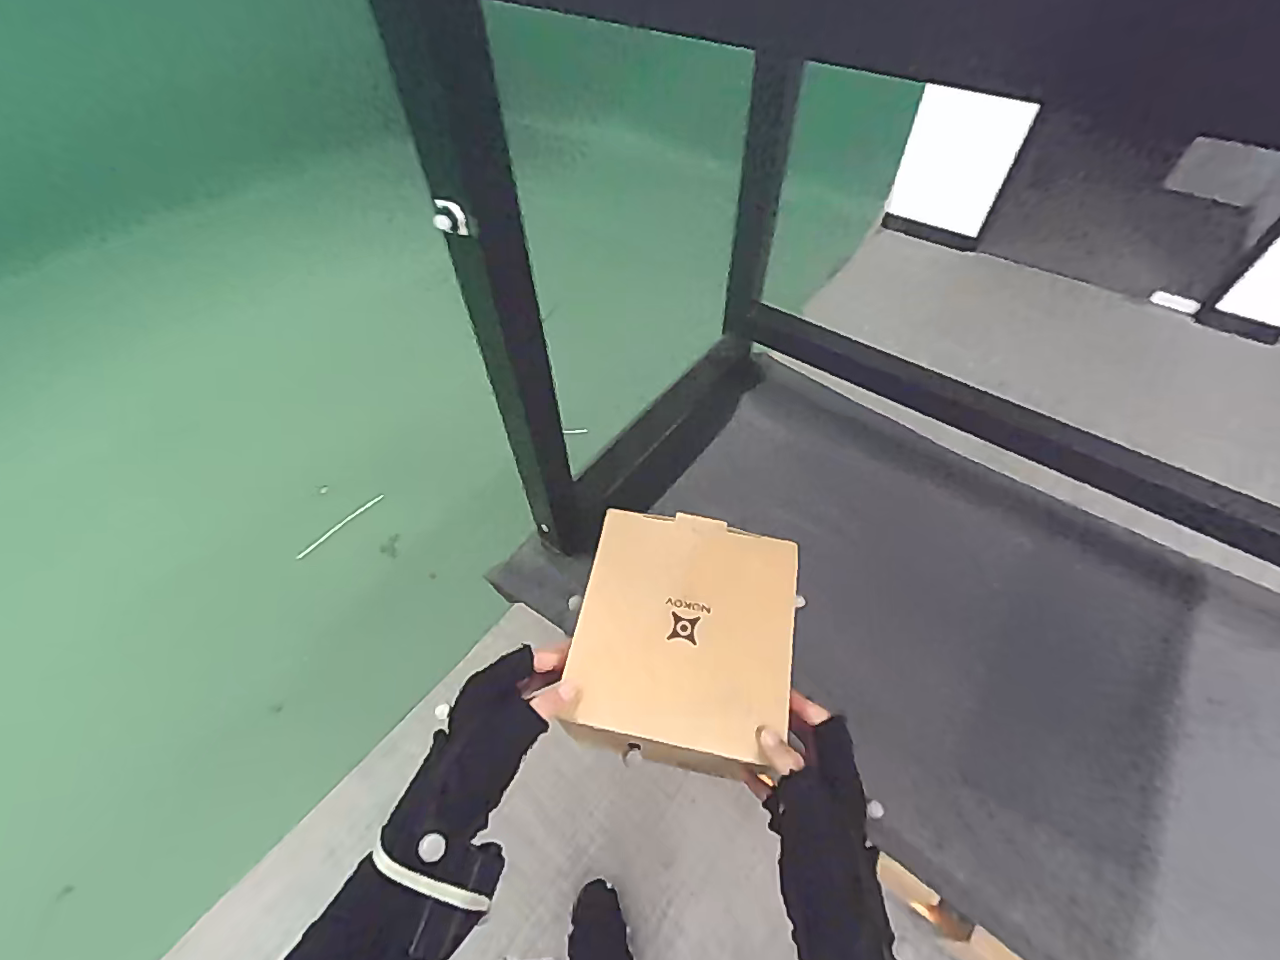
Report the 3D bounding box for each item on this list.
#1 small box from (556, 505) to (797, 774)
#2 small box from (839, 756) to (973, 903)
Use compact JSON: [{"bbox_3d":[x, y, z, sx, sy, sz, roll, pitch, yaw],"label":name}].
[{"bbox_3d":[0.036,0.149,0.485,0.168,0.176,0.179,9,57,6],"label":"small box"},{"bbox_3d":[0.512,0.689,1.066,0.168,0.176,0.179,30,60,23],"label":"small box"}]
